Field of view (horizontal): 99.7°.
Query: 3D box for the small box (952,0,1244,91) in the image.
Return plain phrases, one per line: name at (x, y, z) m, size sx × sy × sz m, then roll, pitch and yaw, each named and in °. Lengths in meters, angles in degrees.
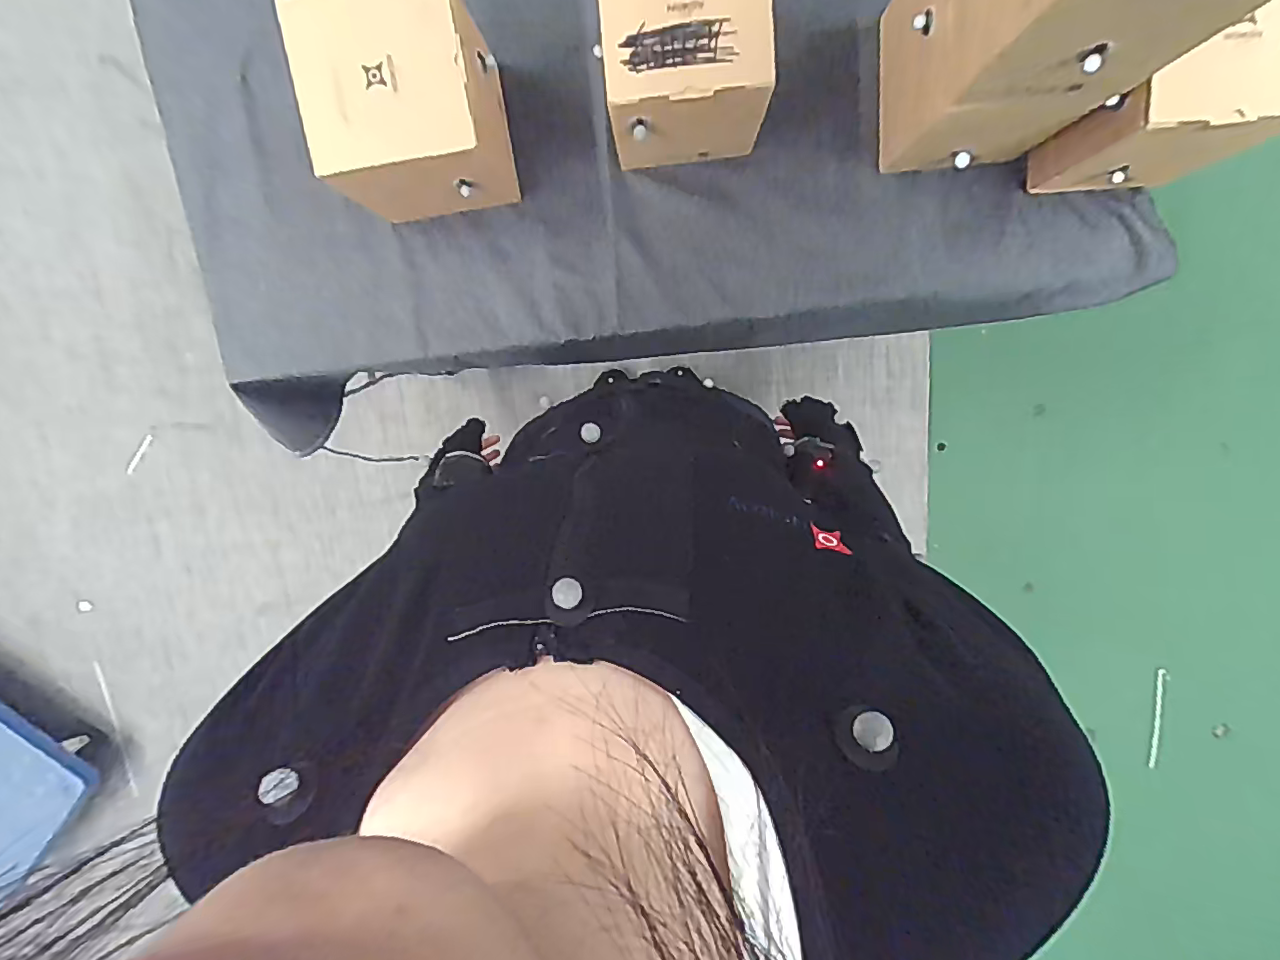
small box at (0.368, -0.433, 0.418) m, size 0.168 × 0.176 × 0.179 m, roll -2°, pitch 100°, yaw 3°
